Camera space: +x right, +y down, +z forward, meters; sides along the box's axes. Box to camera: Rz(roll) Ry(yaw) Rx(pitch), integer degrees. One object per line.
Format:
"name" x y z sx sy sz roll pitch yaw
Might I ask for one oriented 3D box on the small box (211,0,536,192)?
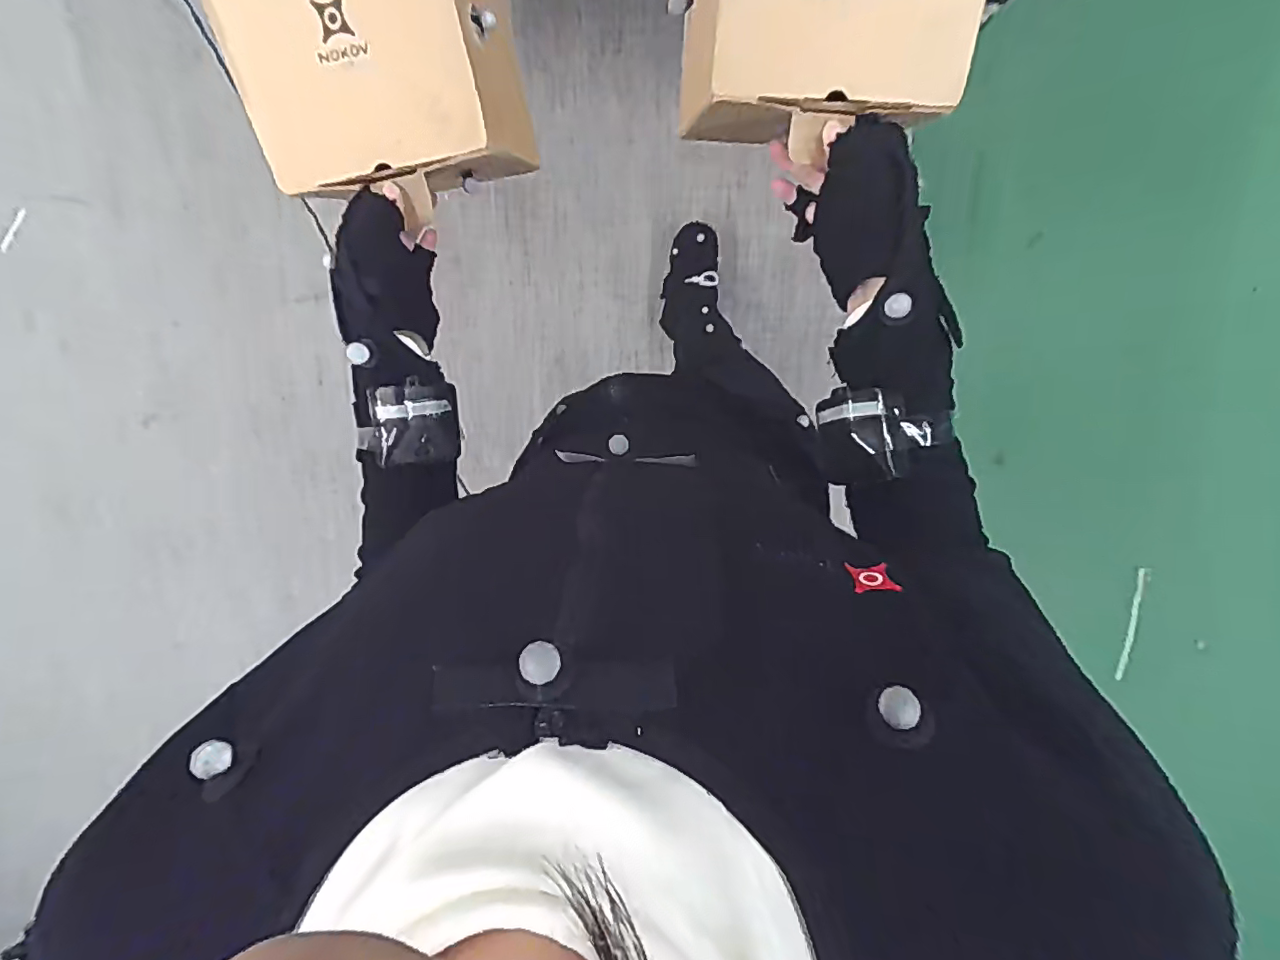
"small box" -0.196 -0.343 0.434 0.168 0.176 0.179 -9 115 8

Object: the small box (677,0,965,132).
"small box" 0.120 -0.366 0.393 0.168 0.176 0.179 -1 116 -3
